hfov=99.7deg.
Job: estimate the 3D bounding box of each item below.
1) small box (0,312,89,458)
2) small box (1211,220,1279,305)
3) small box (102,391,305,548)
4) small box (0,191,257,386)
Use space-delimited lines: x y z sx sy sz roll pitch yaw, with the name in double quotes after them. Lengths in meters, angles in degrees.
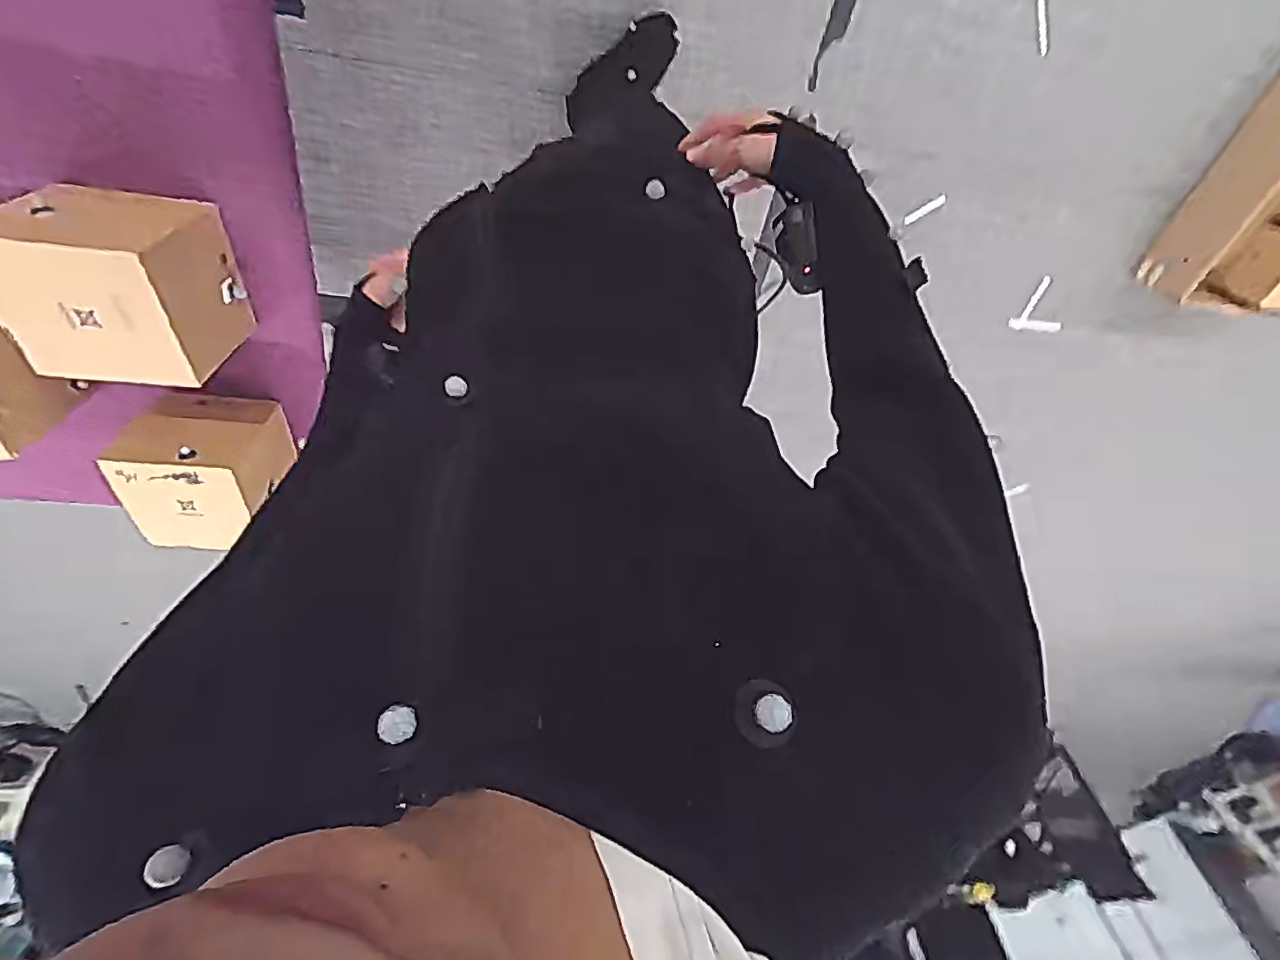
-0.897 -0.149 0.712 0.179 0.176 0.168 4 132 -8 "small box"
1.730 -0.579 1.448 0.179 0.176 0.168 6 132 -6 "small box"
-0.660 -0.015 0.850 0.168 0.176 0.179 4 132 -9 "small box"
-0.616 -0.234 0.656 0.179 0.176 0.168 3 133 -9 "small box"
